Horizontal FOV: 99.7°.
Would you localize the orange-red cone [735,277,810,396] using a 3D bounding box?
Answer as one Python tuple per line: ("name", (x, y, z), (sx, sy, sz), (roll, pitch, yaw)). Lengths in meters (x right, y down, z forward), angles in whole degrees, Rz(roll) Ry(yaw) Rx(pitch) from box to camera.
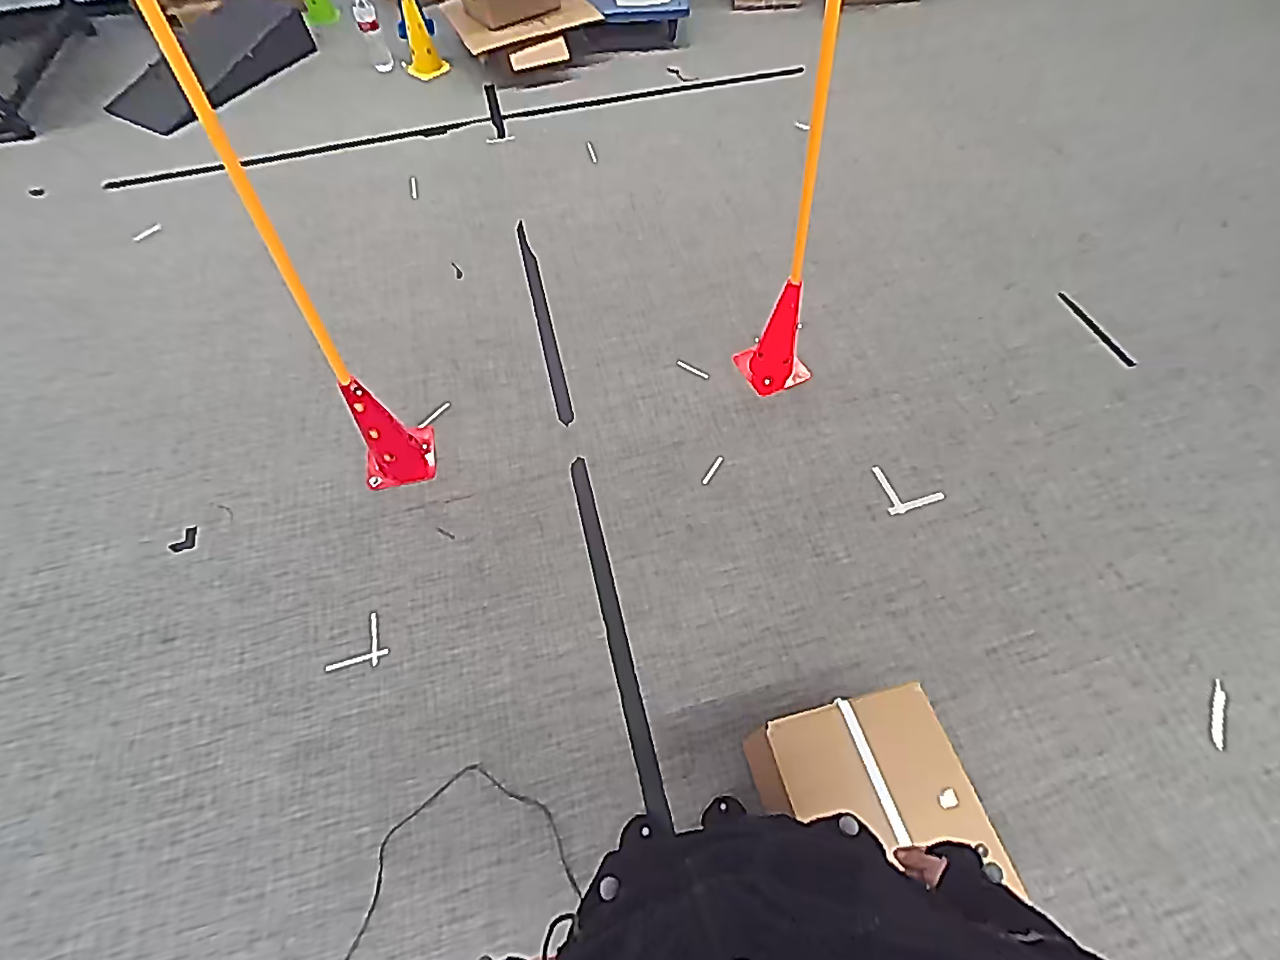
("orange-red cone", (0.436, -0.458, 1.637), (0.199, 0.360, 0.198), (-21, 62, -12))
